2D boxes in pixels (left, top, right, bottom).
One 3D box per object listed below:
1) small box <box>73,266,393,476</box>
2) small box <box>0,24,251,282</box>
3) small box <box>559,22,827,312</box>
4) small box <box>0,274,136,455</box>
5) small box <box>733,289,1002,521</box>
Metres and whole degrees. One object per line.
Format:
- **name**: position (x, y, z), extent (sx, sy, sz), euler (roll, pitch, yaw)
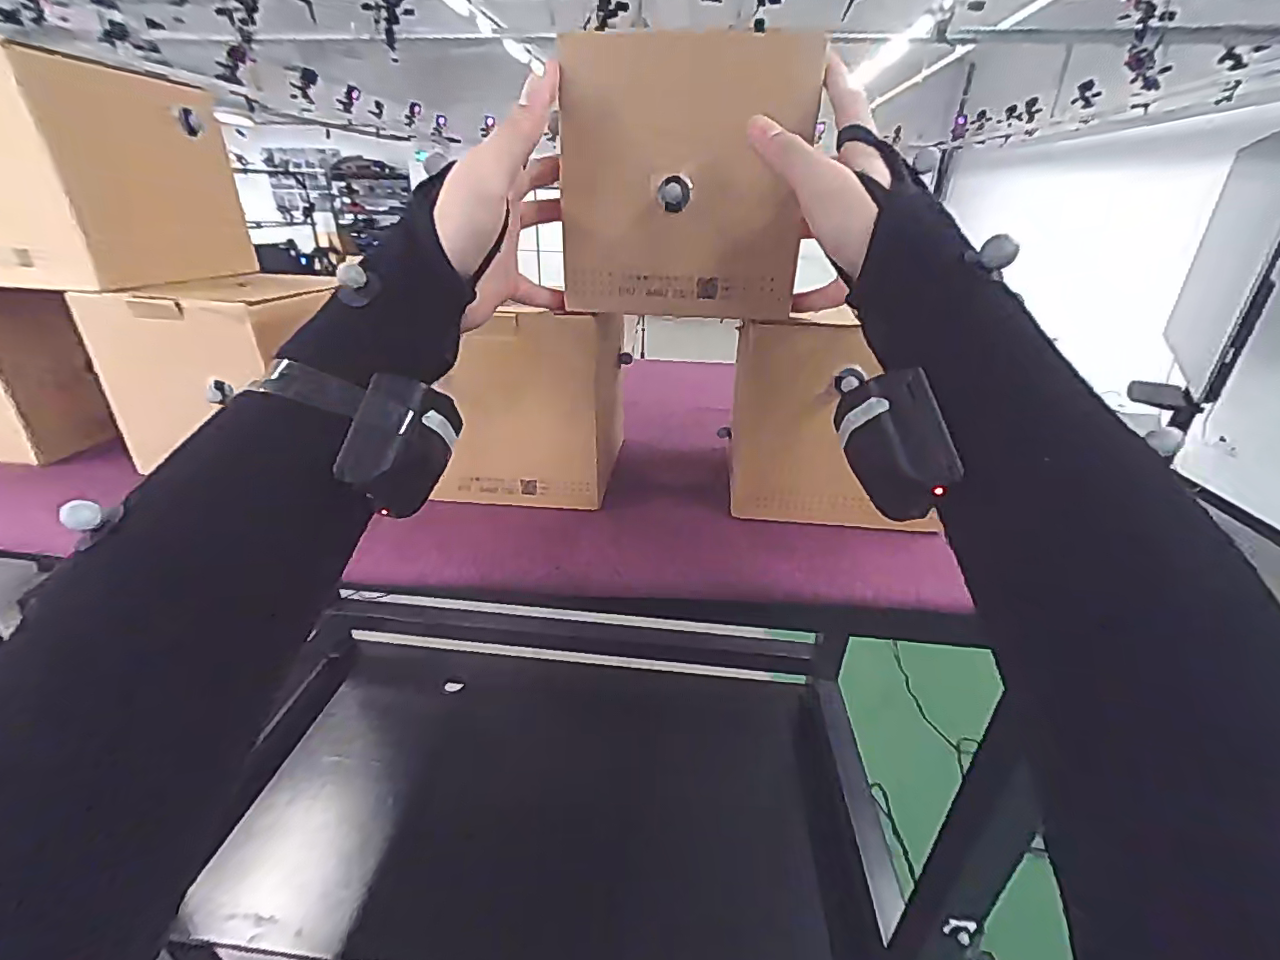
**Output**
- **small box**: position (-0.372, -0.115, 0.538), extent (0.168, 0.176, 0.179), euler (5, 26, 6)
- **small box**: position (-0.496, -0.273, 0.481), extent (0.168, 0.176, 0.179), euler (4, 26, 5)
- **small box**: position (0.037, -0.234, 0.434), extent (0.168, 0.176, 0.179), euler (4, 25, 4)
- **small box**: position (-0.644, -0.135, 0.556), extent (0.179, 0.176, 0.168), euler (4, 26, 2)
- **small box**: position (0.177, -0.075, 0.489), extent (0.179, 0.176, 0.168), euler (4, 26, 5)
